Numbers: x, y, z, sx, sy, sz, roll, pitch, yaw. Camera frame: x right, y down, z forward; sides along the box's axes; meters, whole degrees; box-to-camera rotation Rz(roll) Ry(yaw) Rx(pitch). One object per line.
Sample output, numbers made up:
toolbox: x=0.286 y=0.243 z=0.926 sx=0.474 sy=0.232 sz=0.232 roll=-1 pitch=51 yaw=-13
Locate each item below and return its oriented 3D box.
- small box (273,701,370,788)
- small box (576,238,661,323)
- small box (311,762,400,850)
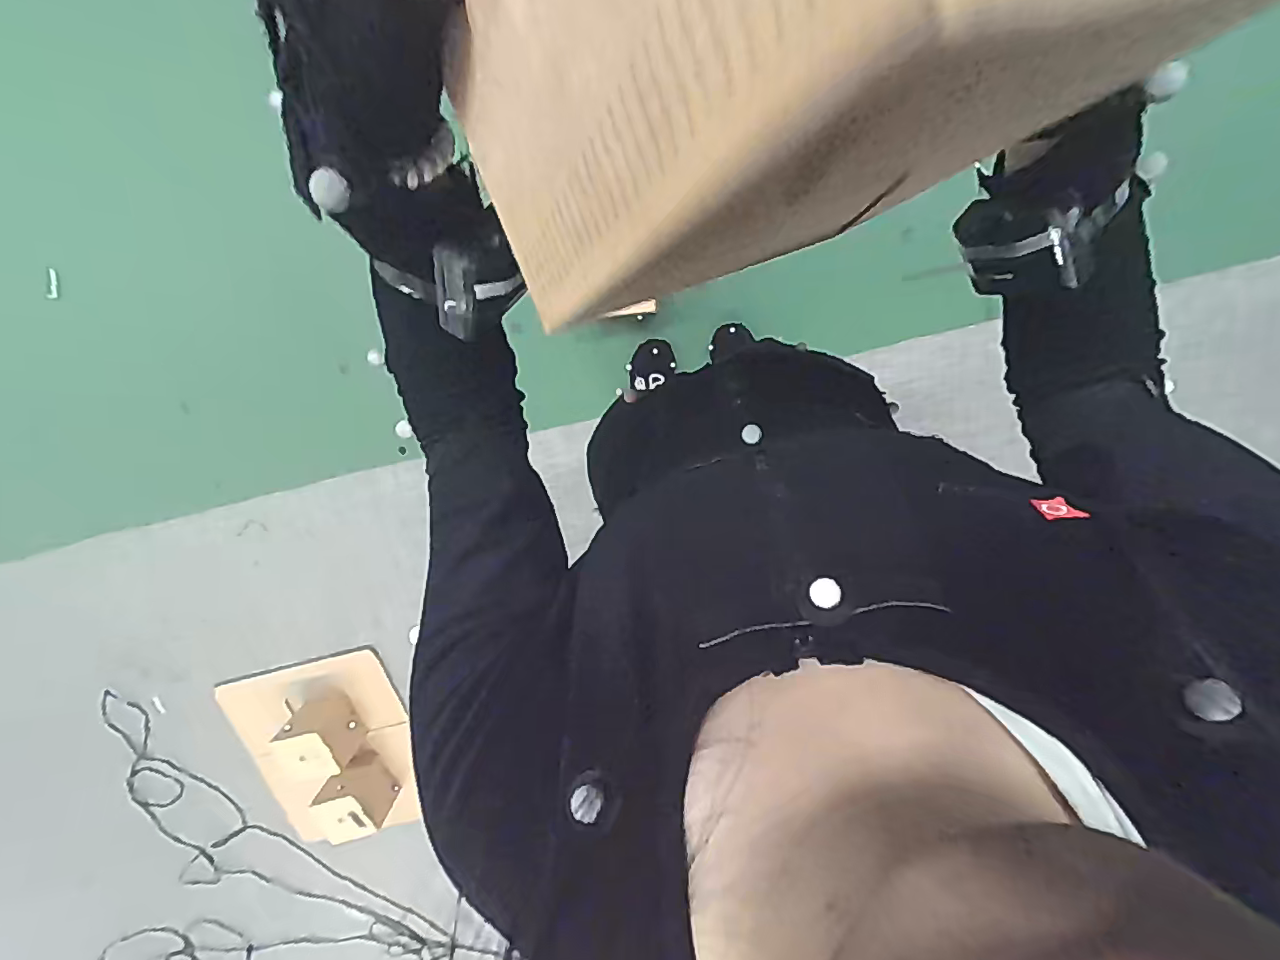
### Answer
small box: x=-1.006 y=0.837 z=1.723 sx=0.179 sy=0.176 sz=0.168 roll=-16 pitch=106 yaw=7
small box: x=-0.046 y=-0.471 z=1.297 sx=0.179 sy=0.176 sz=0.168 roll=-6 pitch=105 yaw=4
small box: x=-0.923 y=1.067 z=1.782 sx=0.179 sy=0.176 sz=0.168 roll=-20 pitch=104 yaw=9
